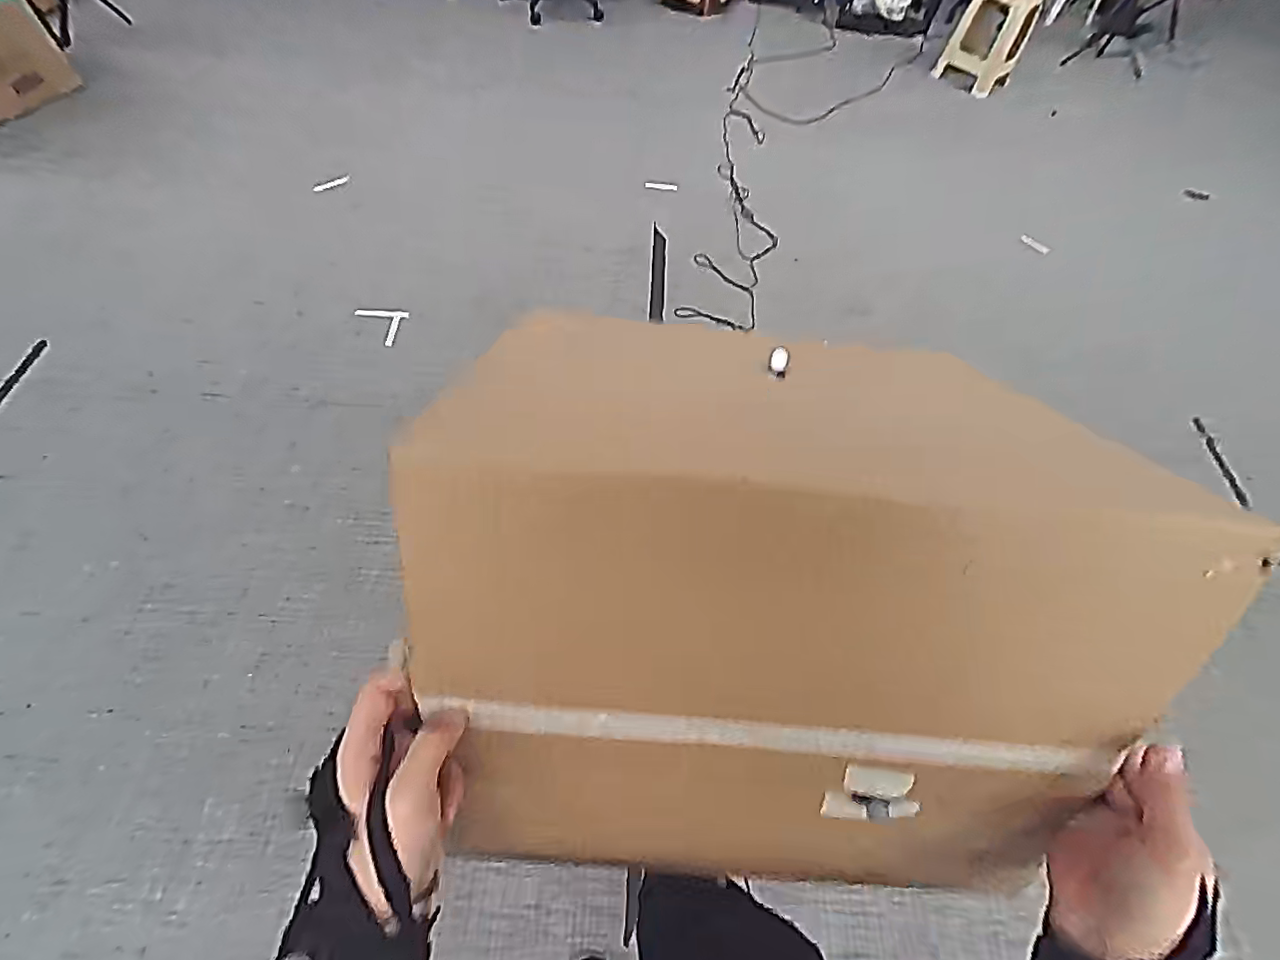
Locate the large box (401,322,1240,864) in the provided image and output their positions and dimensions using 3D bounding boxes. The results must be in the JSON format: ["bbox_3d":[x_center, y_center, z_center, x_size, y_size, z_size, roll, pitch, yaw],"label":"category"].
[{"bbox_3d":[0.076,0.065,0.451,0.408,0.320,0.320,4,29,-2],"label":"large box"}]
